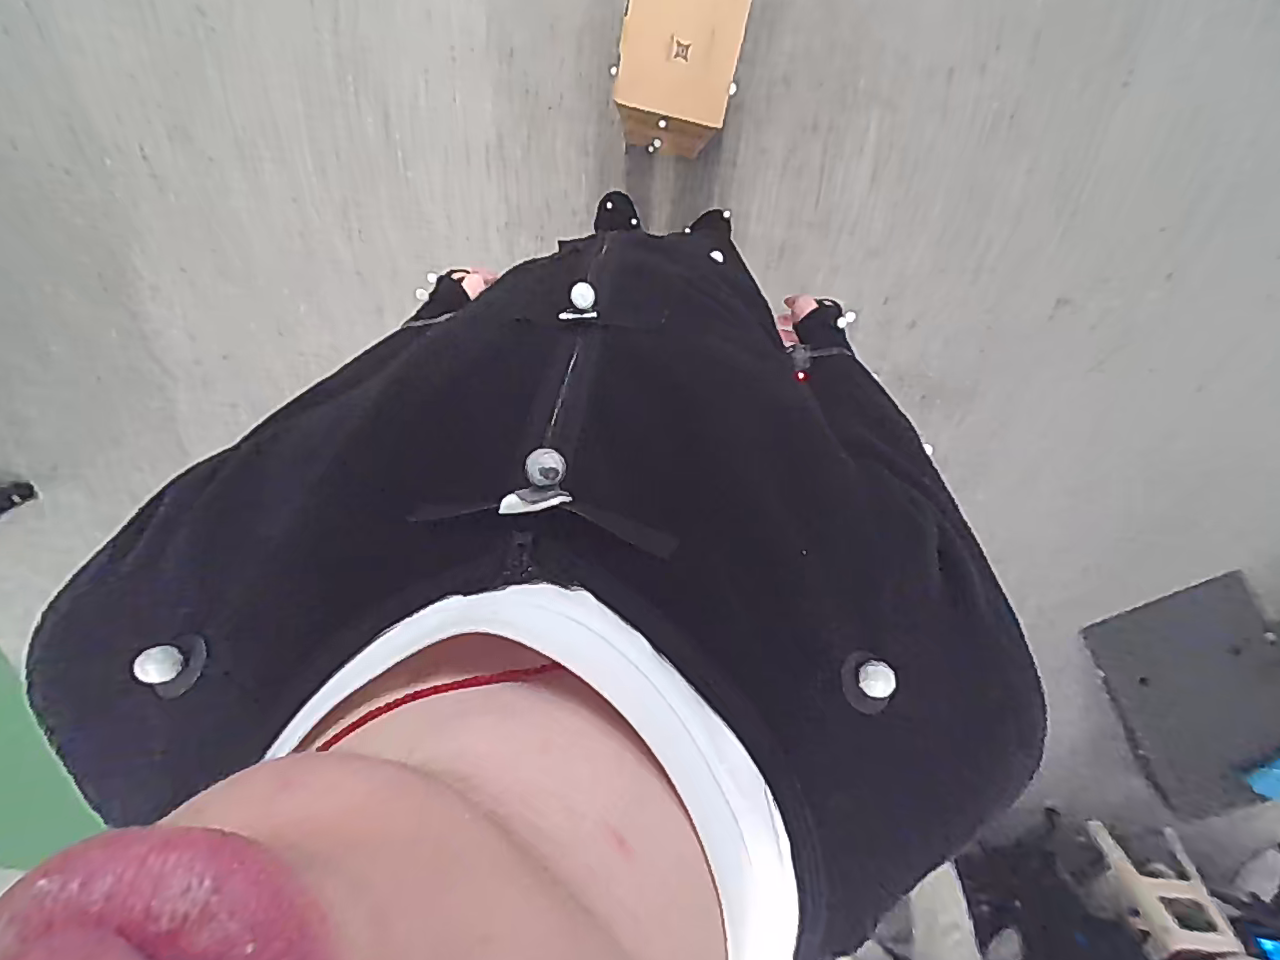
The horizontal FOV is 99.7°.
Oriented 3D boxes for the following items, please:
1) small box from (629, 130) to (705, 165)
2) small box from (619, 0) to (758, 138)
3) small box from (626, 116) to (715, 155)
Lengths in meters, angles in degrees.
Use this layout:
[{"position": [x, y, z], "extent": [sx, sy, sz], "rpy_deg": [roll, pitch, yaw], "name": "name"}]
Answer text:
[{"position": [0.074, -0.802, 1.168], "extent": [0.168, 0.176, 0.179], "rpy_deg": [11, 117, -5], "name": "small box"}, {"position": [0.069, -0.667, 0.871], "extent": [0.179, 0.176, 0.168], "rpy_deg": [10, 119, -5], "name": "small box"}, {"position": [0.074, -0.733, 1.018], "extent": [0.168, 0.176, 0.179], "rpy_deg": [12, 118, -5], "name": "small box"}]
